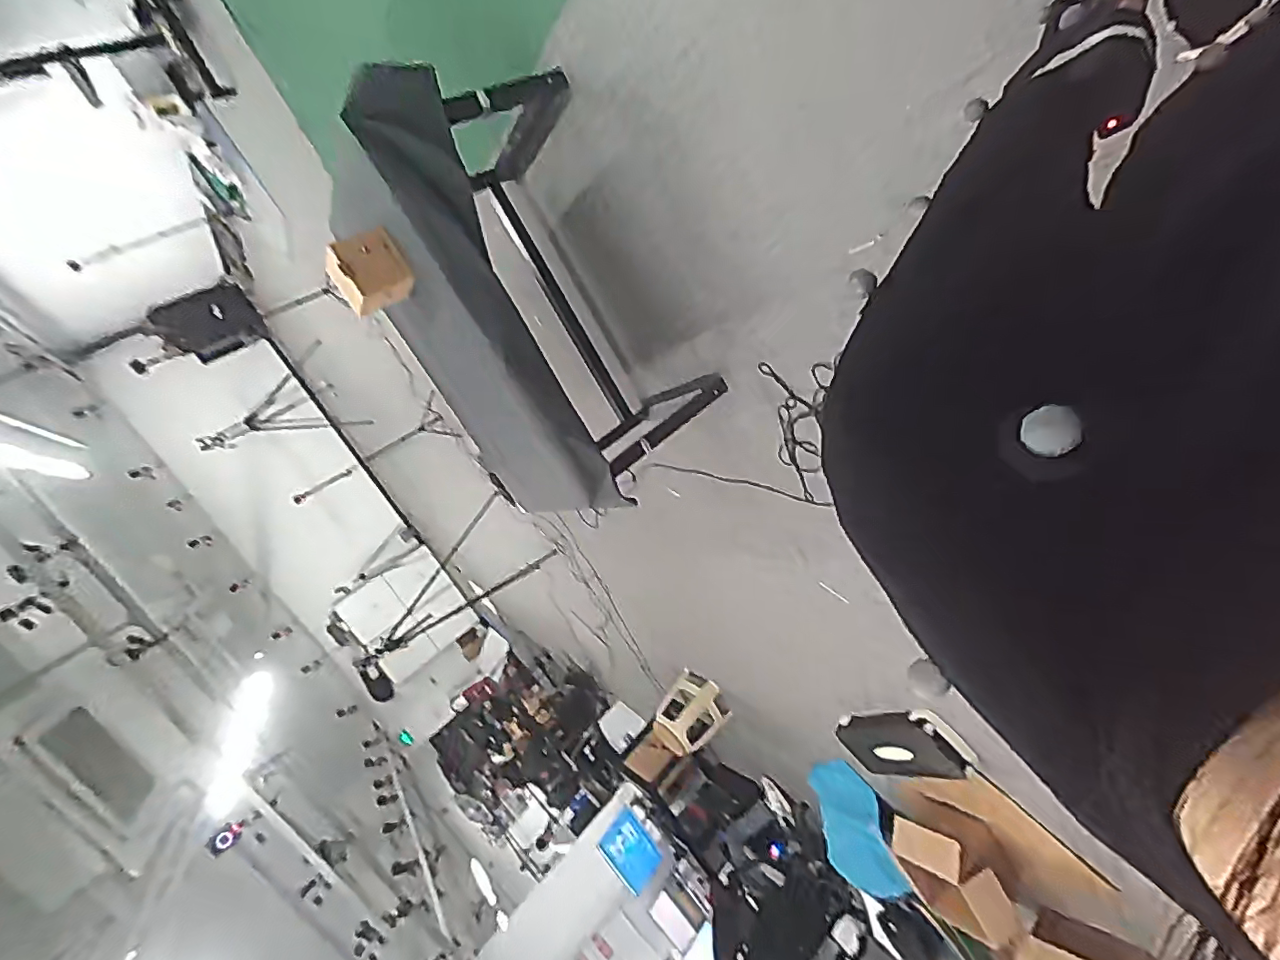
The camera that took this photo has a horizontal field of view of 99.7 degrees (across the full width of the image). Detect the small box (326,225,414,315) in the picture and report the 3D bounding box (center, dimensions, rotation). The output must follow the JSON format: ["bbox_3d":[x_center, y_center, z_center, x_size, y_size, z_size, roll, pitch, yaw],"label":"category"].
[{"bbox_3d":[-0.795,-0.621,1.599,0.168,0.176,0.179,59,152,-13],"label":"small box"}]
